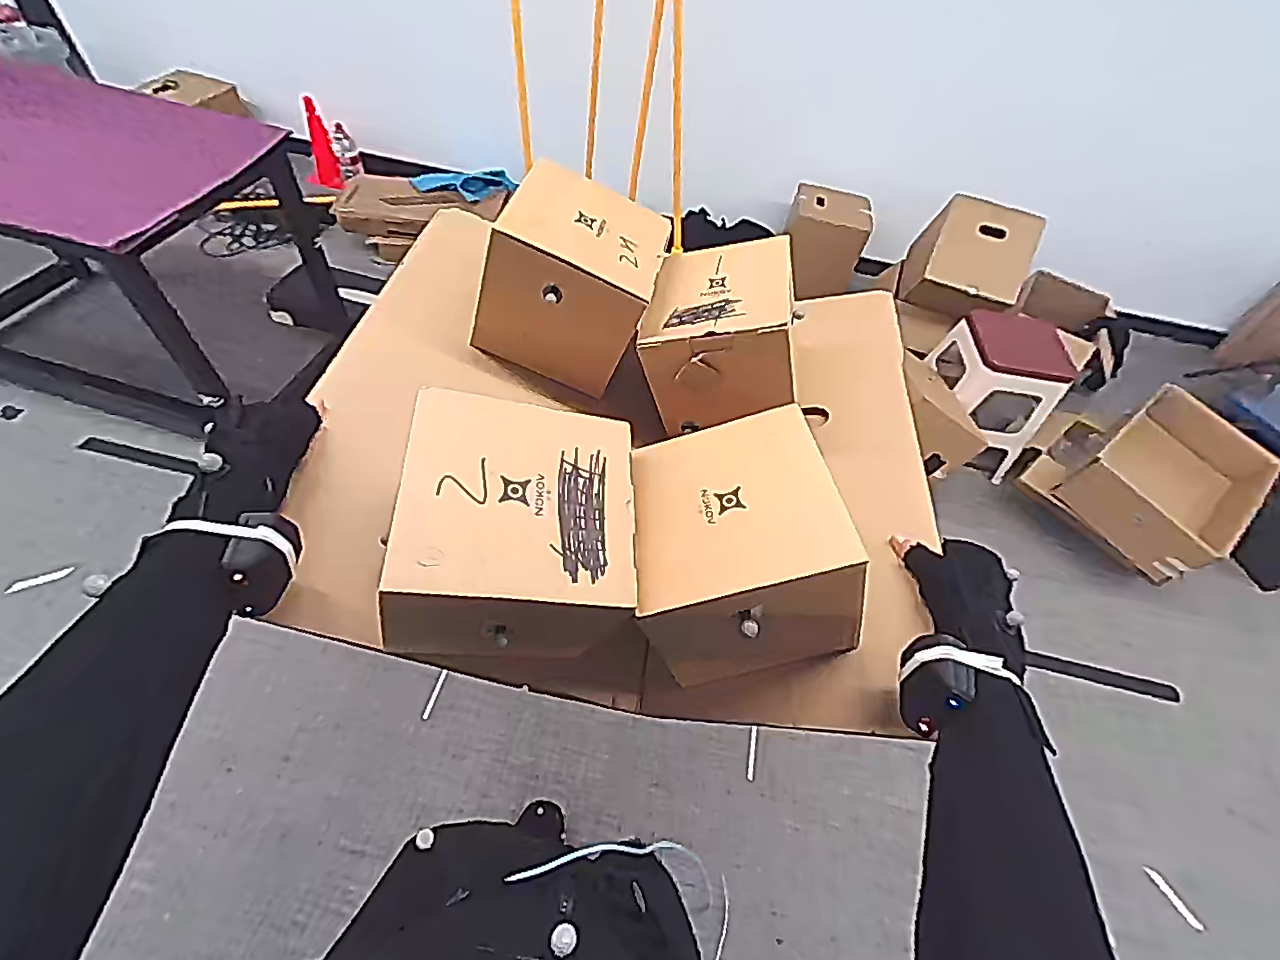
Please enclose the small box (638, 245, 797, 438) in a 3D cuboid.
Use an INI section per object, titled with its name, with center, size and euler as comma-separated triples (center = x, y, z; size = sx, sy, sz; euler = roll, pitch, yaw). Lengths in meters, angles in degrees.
[small box]
center = 0.111, -0.165, 0.689
size = 0.168, 0.176, 0.179
euler = -2, 51, 19
